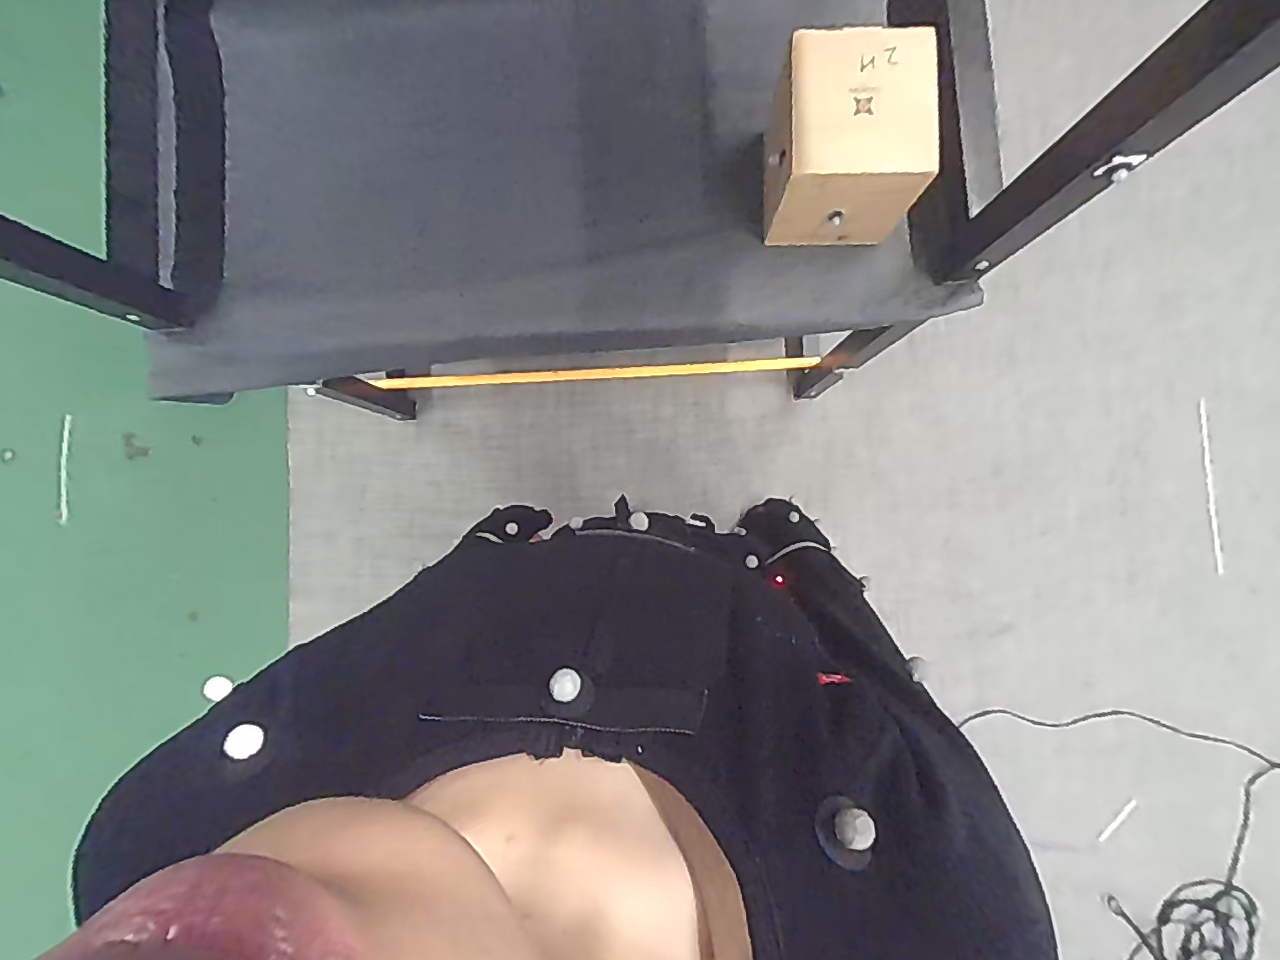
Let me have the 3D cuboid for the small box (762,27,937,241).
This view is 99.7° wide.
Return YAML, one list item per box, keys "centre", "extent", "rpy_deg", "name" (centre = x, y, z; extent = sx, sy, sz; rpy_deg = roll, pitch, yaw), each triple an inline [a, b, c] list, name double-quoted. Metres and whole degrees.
- centre: [0.257, -0.429, 0.697]
  extent: [0.168, 0.176, 0.179]
  rpy_deg: [1, 87, 1]
  name: "small box"
